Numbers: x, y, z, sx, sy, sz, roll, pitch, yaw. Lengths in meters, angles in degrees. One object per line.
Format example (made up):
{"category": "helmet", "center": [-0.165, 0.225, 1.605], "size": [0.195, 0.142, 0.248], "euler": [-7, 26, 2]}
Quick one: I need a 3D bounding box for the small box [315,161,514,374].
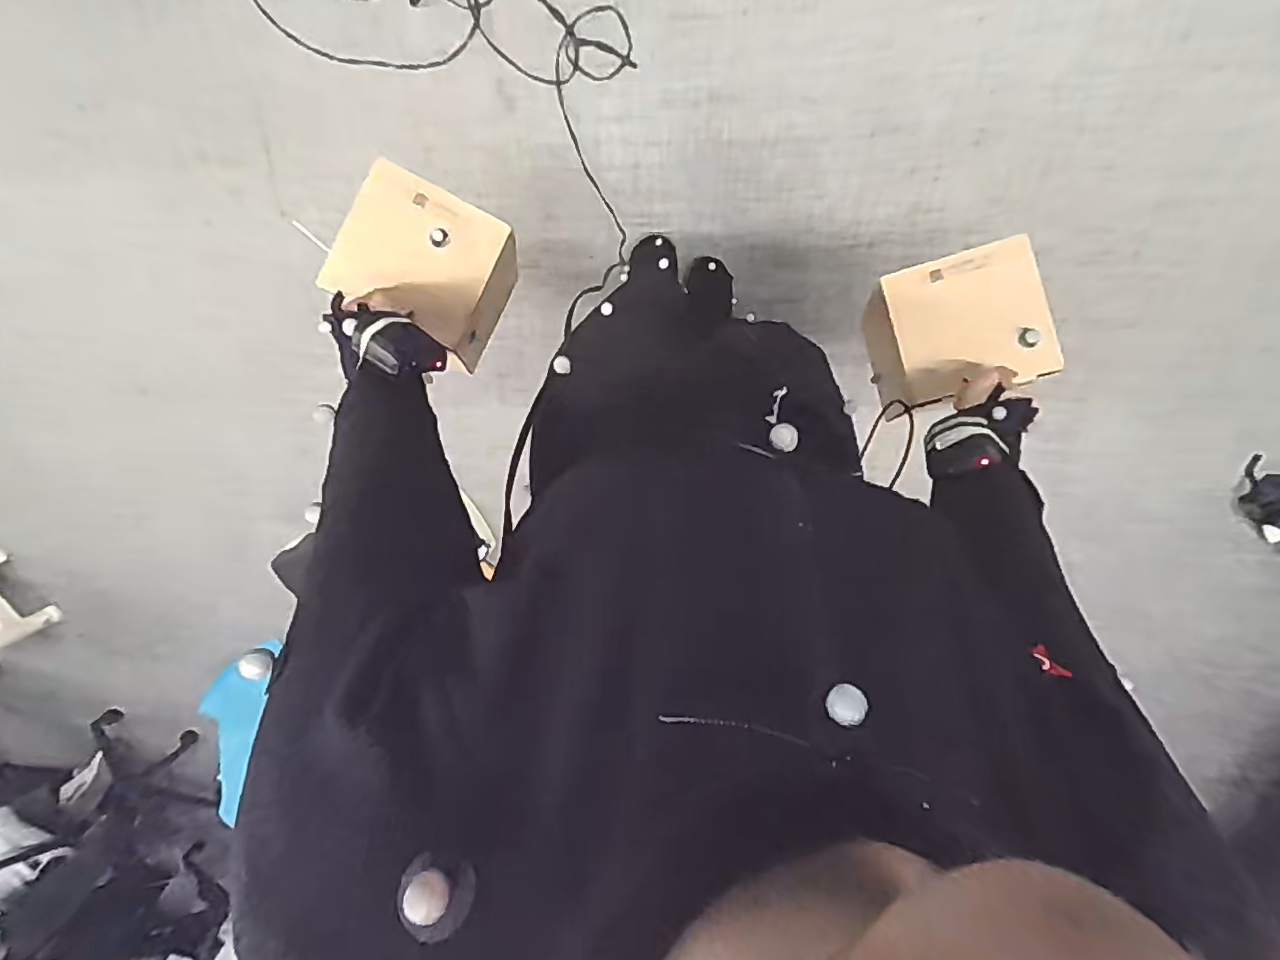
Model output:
{"category": "small box", "center": [-0.272, -0.260, 0.699], "size": [0.168, 0.179, 0.176], "euler": [23, 87, -10]}
